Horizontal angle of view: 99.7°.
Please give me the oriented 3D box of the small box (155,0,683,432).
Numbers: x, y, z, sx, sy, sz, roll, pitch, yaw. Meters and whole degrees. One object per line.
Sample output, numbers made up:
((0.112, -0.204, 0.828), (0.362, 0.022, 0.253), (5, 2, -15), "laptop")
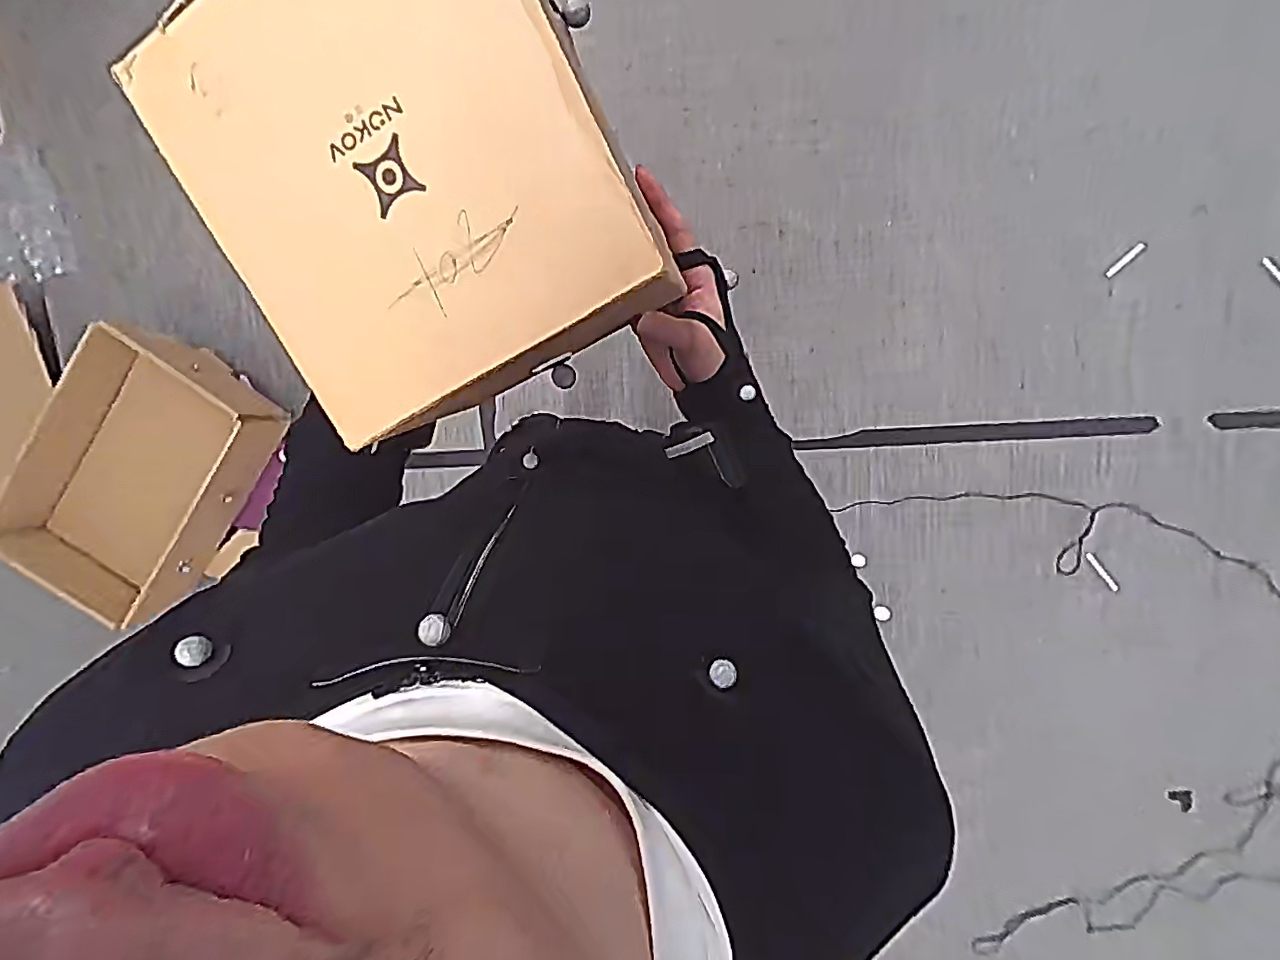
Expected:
((-0.086, -0.149, 0.301), (0.168, 0.176, 0.179), (-25, 102, 14), "small box")
